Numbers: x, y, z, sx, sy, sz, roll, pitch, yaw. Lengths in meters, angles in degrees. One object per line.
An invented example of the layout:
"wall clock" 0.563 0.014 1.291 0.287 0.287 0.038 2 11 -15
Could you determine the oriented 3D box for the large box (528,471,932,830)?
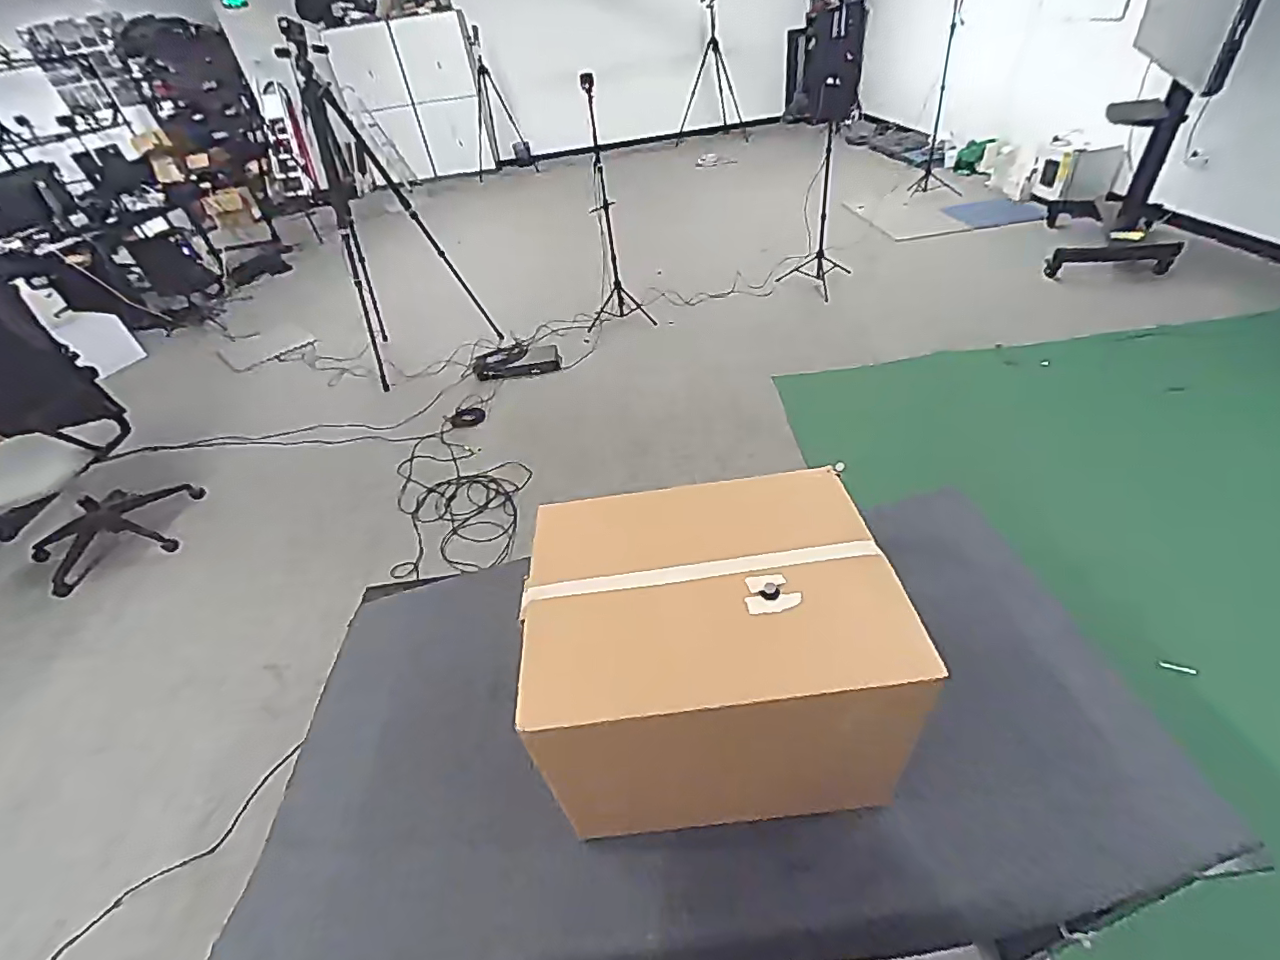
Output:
"large box" 0.090 0.224 0.725 0.408 0.320 0.320 -8 41 1
